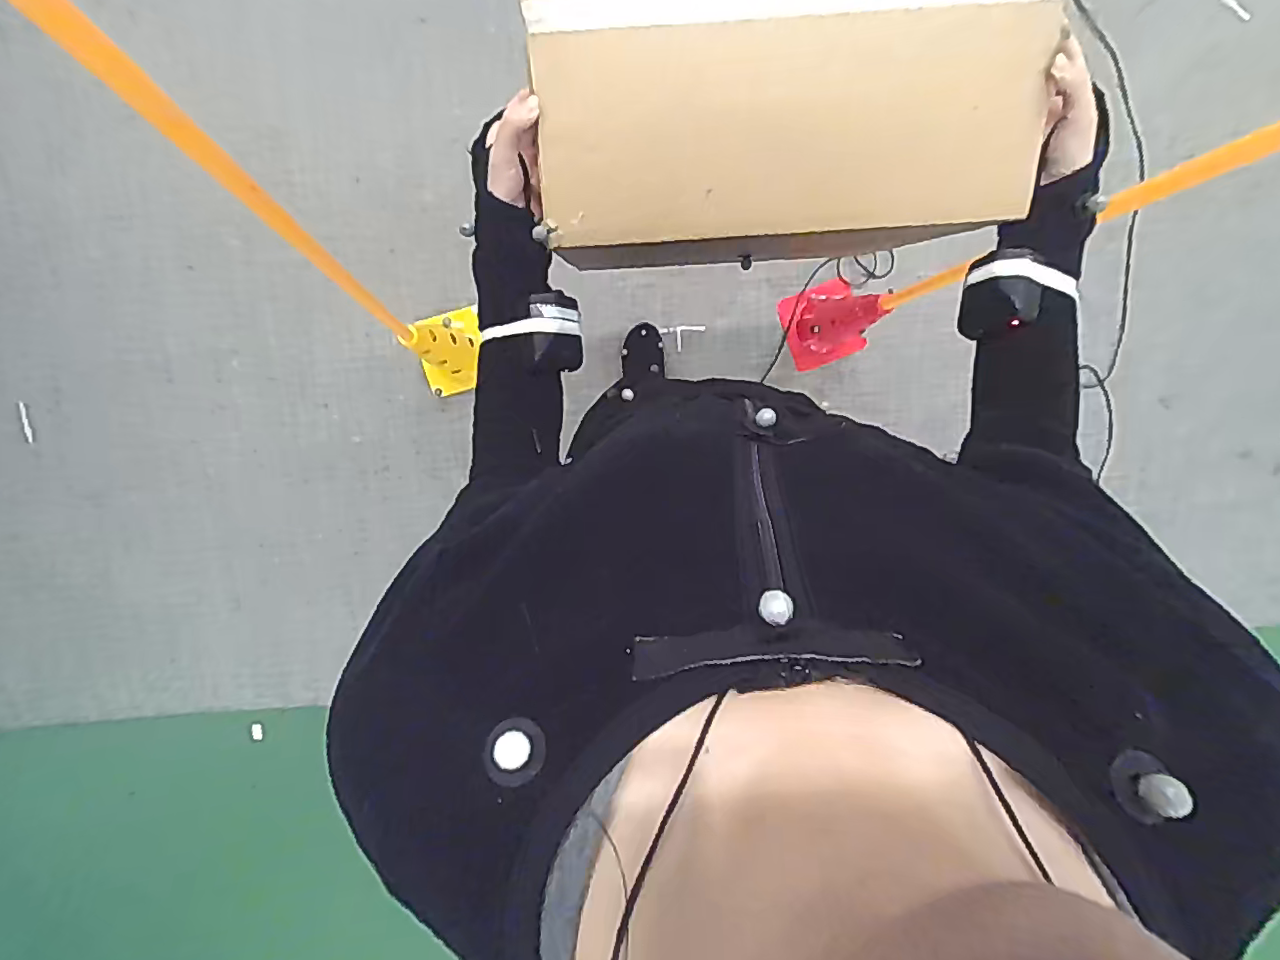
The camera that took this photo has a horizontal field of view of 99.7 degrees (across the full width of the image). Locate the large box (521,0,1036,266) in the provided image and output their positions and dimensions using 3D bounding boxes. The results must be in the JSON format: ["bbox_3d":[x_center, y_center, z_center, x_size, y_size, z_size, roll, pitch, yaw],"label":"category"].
[{"bbox_3d":[0.108,-0.408,0.557,0.408,0.320,0.320,-4,107,1],"label":"large box"}]
